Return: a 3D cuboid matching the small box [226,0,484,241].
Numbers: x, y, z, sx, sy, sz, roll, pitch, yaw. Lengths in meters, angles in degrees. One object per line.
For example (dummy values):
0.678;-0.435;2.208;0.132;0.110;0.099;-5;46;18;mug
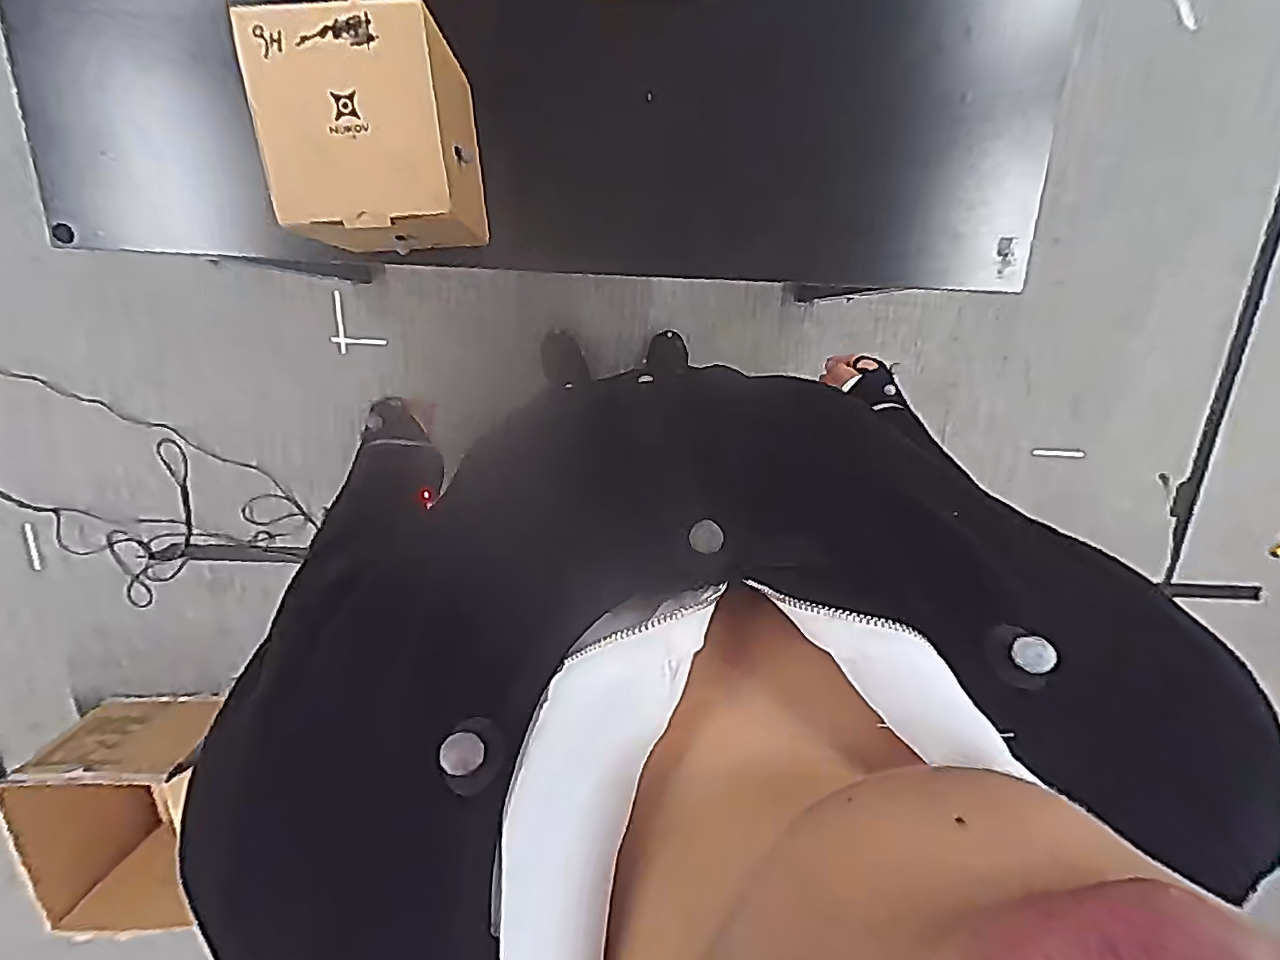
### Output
-0.271;-0.352;0.563;0.168;0.176;0.179;-5;106;-2;small box
